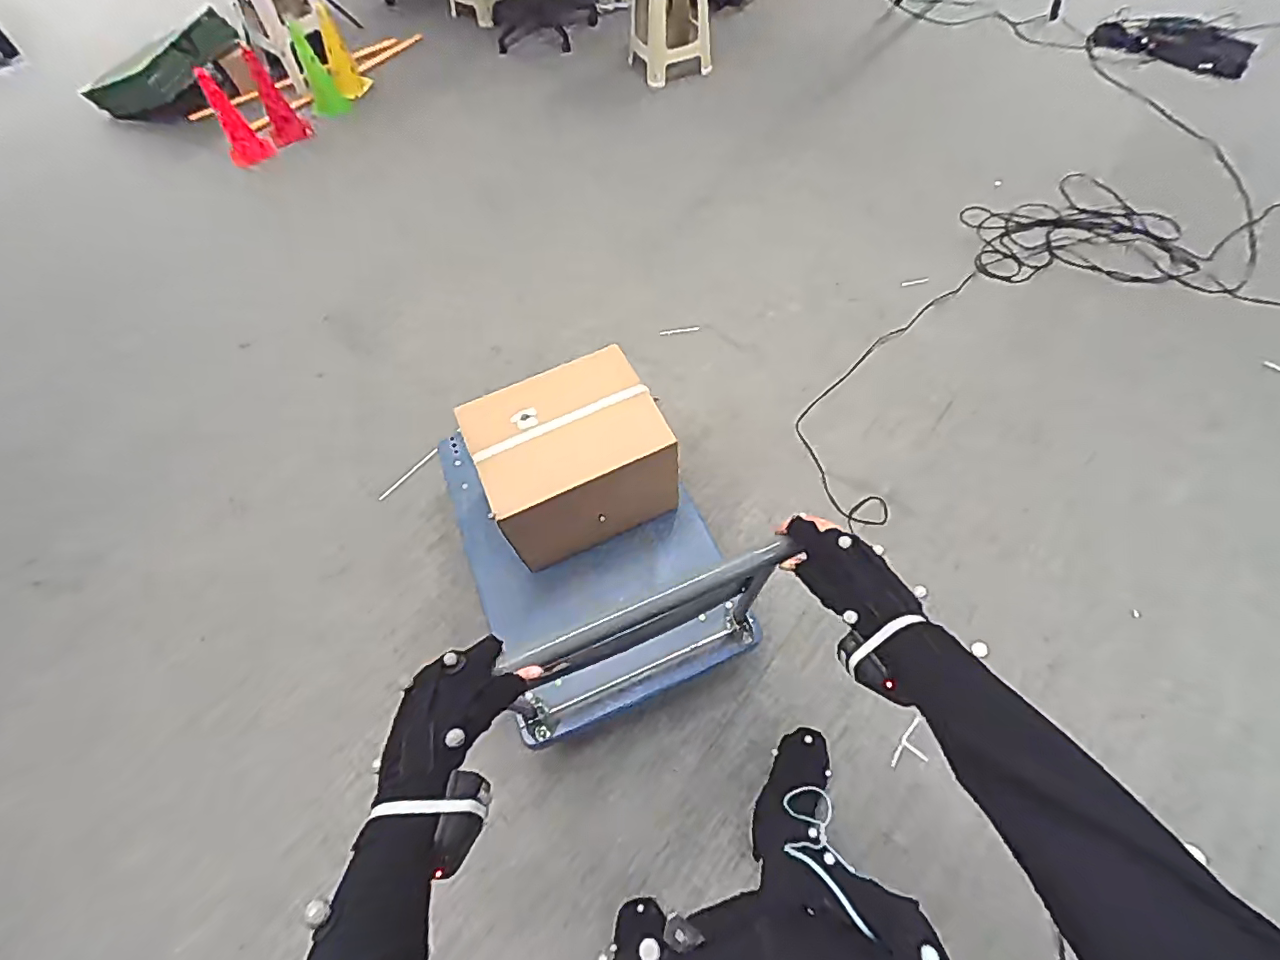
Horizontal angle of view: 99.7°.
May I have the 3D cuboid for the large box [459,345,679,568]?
[{"bbox_3d":[-0.152,-0.047,1.300,0.408,0.320,0.320,-25,62,-8],"label":"large box"}]
